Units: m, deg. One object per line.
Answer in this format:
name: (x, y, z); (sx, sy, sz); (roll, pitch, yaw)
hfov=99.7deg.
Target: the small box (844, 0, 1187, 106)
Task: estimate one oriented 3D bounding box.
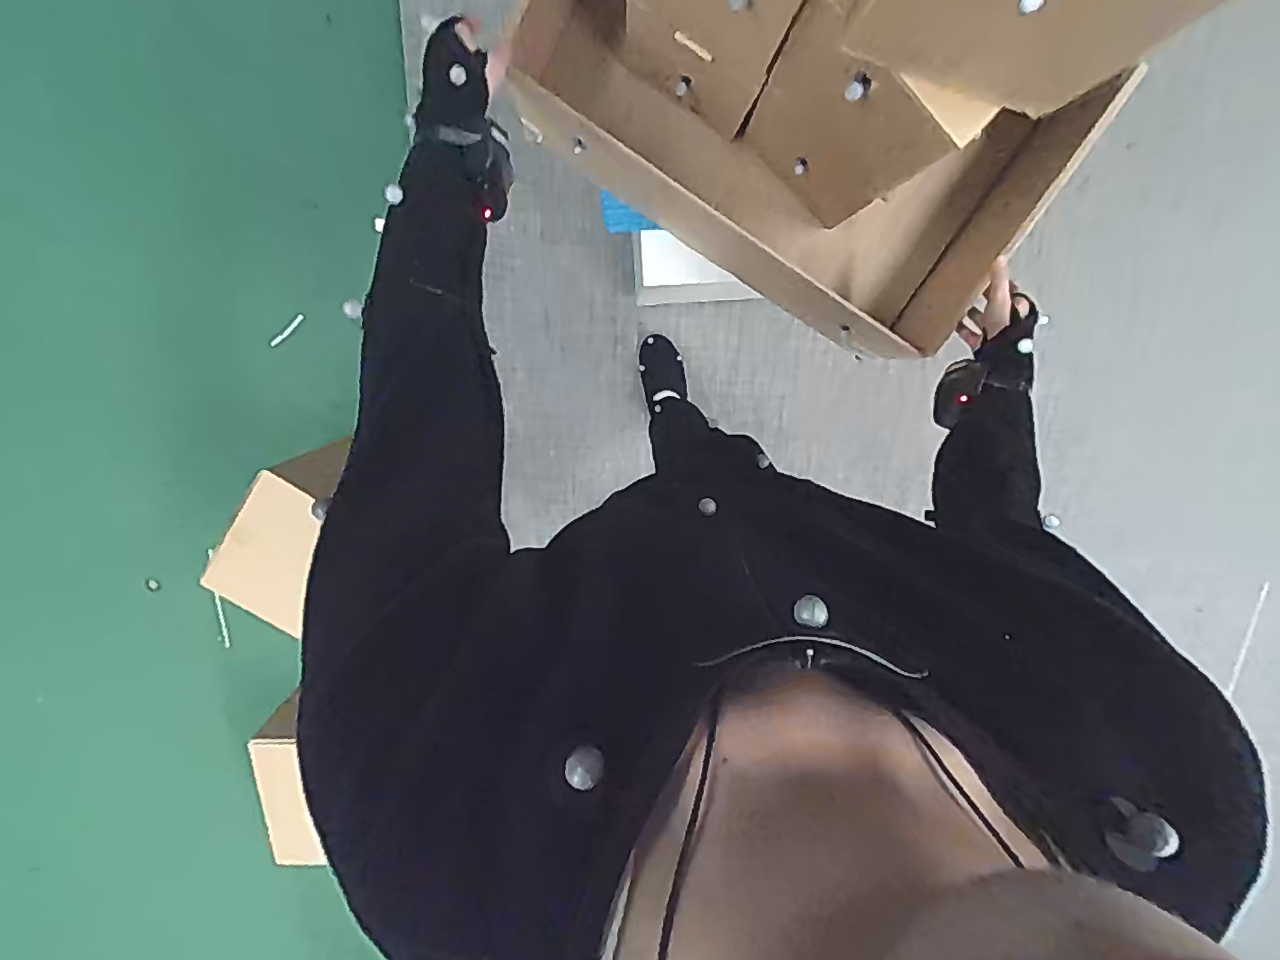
small box: (0.252, -0.368, 0.326); (0.179, 0.176, 0.168); (17, 103, -2)
